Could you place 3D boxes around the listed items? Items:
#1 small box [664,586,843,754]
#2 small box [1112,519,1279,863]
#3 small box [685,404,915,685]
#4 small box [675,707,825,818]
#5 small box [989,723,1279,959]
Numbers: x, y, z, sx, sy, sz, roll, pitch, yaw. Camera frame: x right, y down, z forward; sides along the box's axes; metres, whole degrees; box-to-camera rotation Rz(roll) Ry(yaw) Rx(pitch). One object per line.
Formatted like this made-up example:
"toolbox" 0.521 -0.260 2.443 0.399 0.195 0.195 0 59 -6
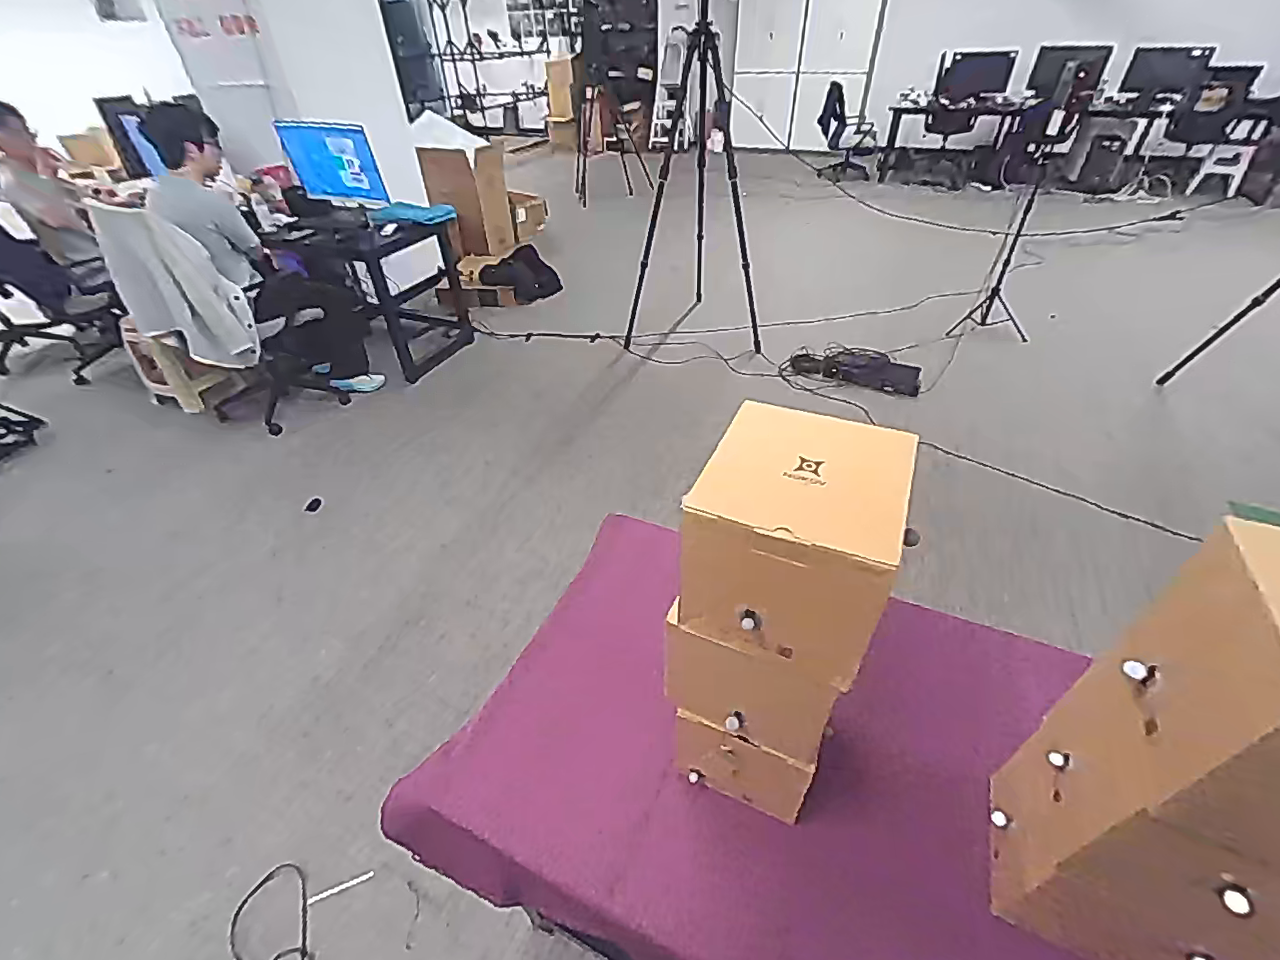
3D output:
"small box" 0.139 0.181 0.622 0.179 0.176 0.168 17 43 21
"small box" 0.481 0.160 0.372 0.179 0.176 0.168 16 42 21
"small box" 0.145 0.056 0.517 0.168 0.176 0.179 15 44 20
"small box" 0.155 0.309 0.724 0.168 0.176 0.179 16 43 20
"small box" 0.511 0.408 0.586 0.179 0.176 0.168 16 43 21
